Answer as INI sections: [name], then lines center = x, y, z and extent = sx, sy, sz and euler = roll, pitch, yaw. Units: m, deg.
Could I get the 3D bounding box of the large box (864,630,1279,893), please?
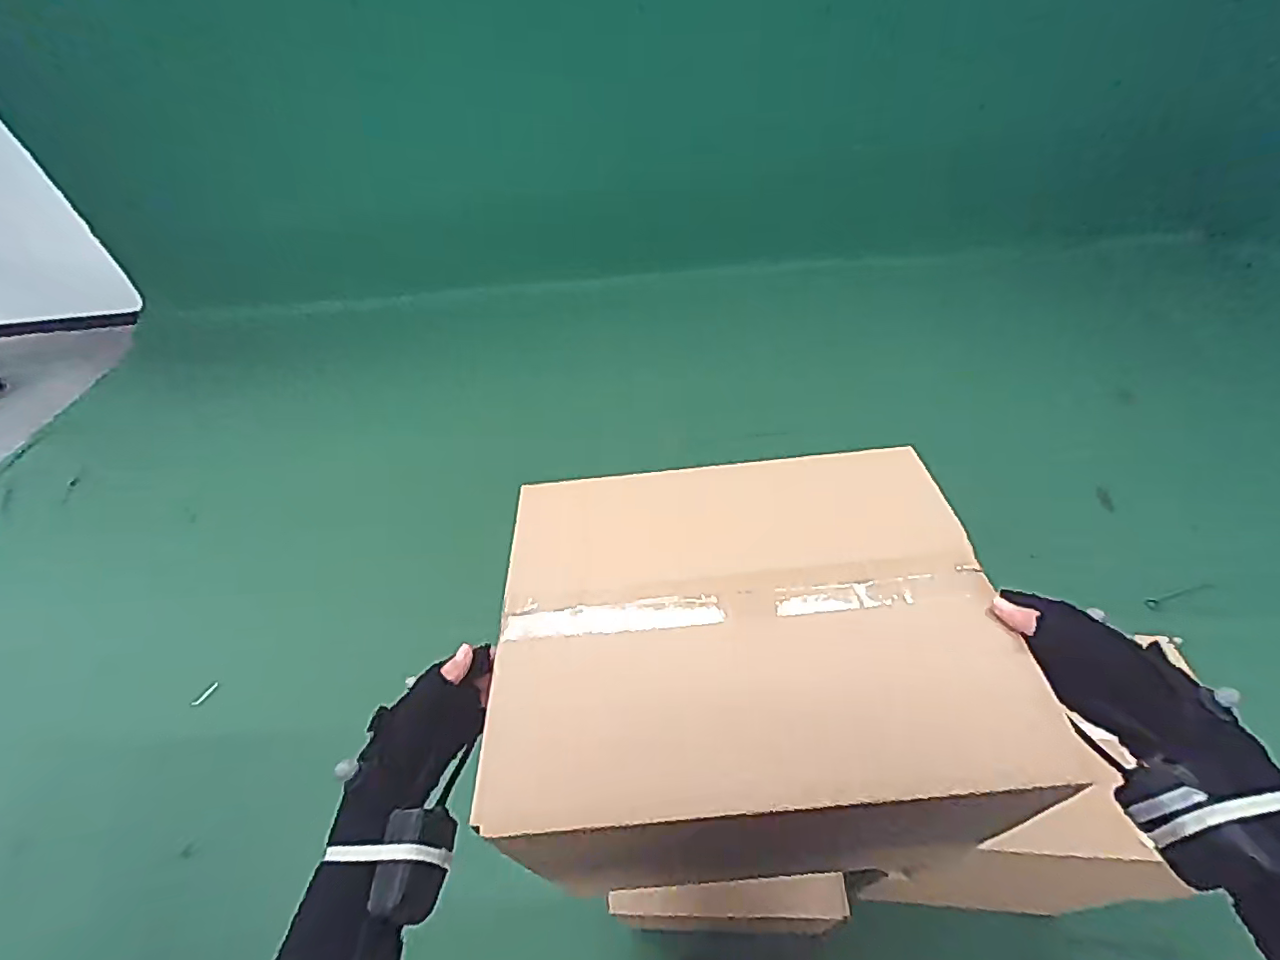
[large box]
center = 0.639, 0.464, 0.893
extent = 0.408, 0.320, 0.320
euler = 0, 48, 6
